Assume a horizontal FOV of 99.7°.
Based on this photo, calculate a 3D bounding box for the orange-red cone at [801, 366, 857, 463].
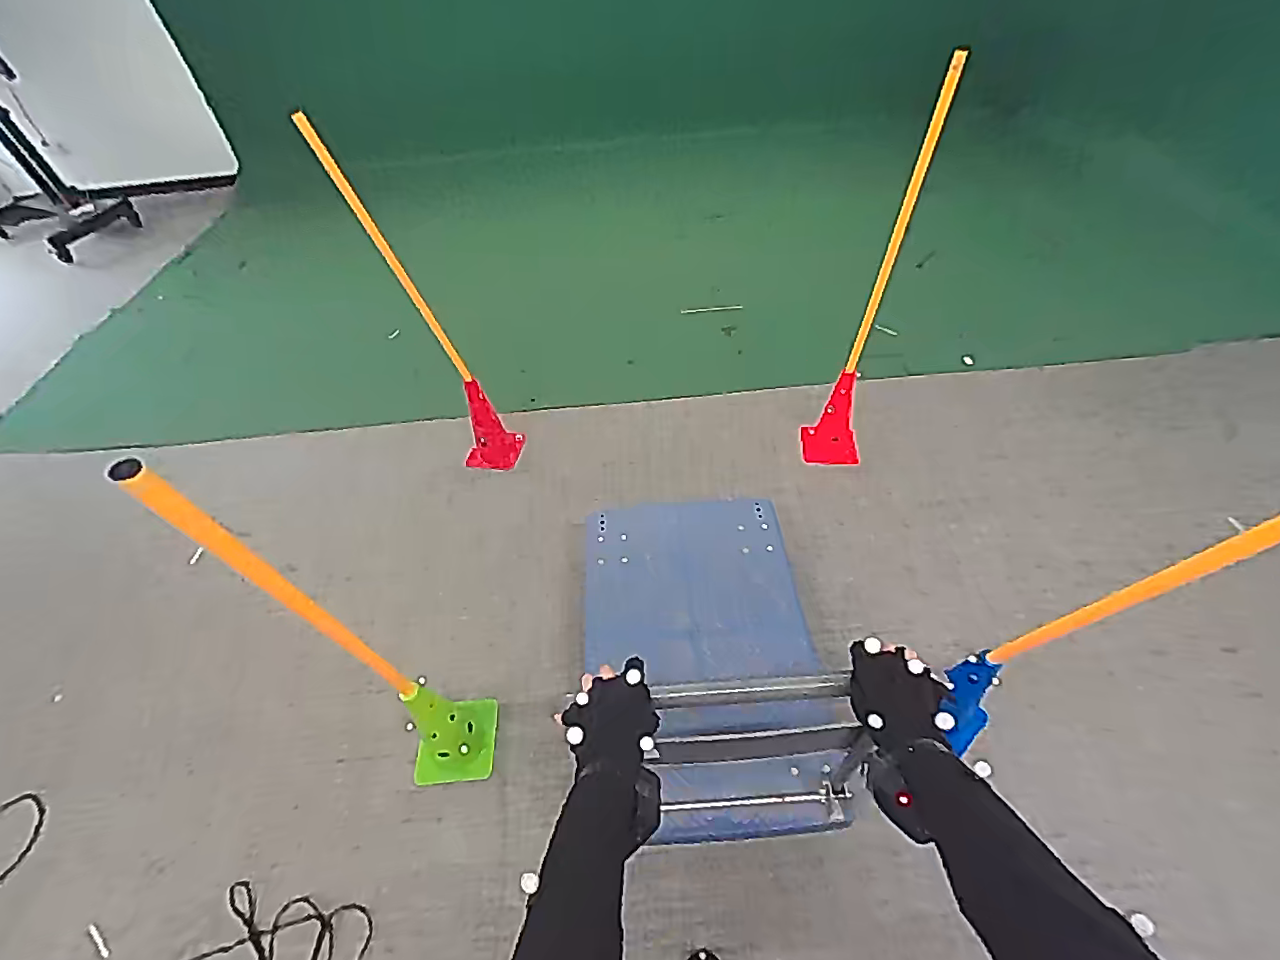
[{"bbox_3d":[0.701,-0.249,1.923,0.198,0.360,0.199,3,50,8],"label":"orange-red cone"}]
